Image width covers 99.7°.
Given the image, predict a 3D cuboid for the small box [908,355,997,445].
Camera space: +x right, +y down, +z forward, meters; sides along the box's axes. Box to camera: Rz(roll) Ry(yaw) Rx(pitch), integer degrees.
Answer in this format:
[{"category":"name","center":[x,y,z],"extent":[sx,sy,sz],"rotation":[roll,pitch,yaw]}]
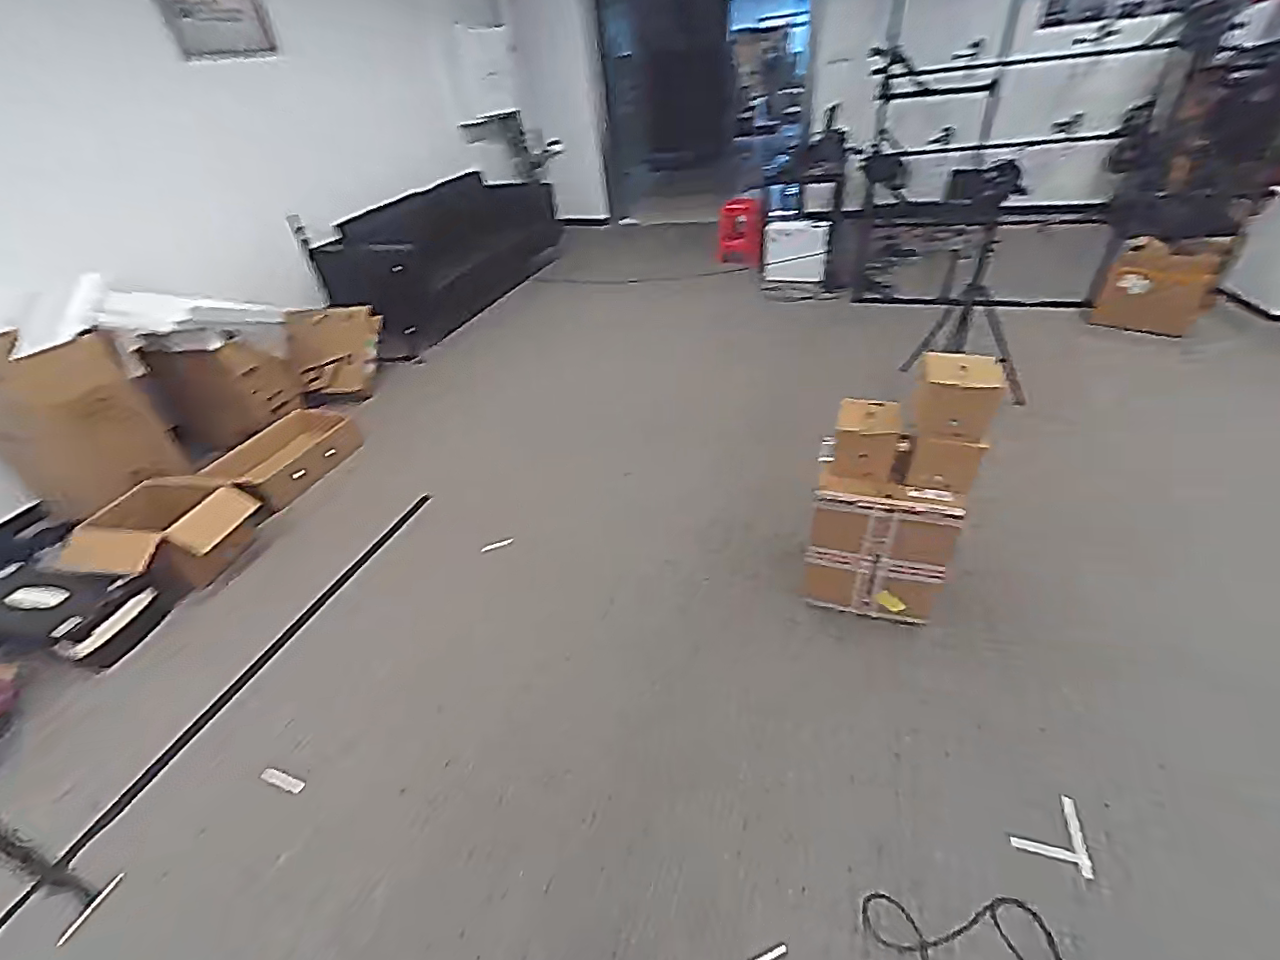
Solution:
[{"category":"small box","center":[0.833,-0.218,1.460],"extent":[0.168,0.176,0.179],"rotation":[9,42,17]}]

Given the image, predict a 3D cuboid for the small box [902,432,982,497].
[{"category":"small box","center":[0.858,-0.080,1.549],"extent":[0.168,0.176,0.179],"rotation":[10,43,19]}]

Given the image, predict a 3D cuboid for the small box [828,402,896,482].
[{"category":"small box","center":[0.664,-0.114,1.621],"extent":[0.168,0.176,0.179],"rotation":[8,42,22]}]
